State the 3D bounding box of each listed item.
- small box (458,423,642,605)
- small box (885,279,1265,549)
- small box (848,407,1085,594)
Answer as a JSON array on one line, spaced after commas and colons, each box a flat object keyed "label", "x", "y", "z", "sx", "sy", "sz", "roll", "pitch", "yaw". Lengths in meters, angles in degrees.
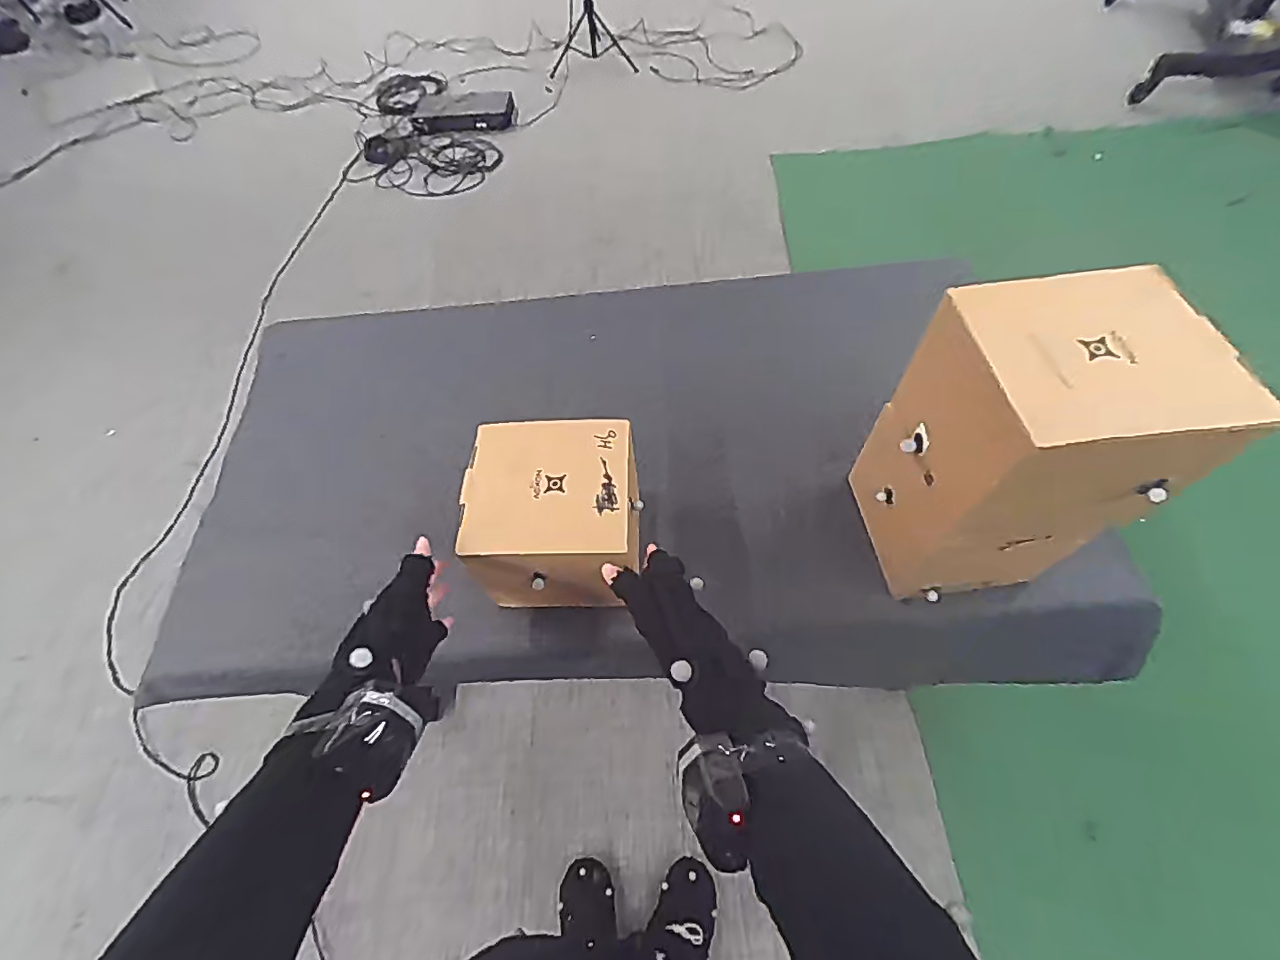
[{"label": "small box", "x": -0.093, "y": 0.048, "z": 0.655, "sx": 0.179, "sy": 0.176, "sz": 0.168, "roll": -1, "pitch": 59, "yaw": 4}, {"label": "small box", "x": 0.353, "y": -0.051, "z": 0.489, "sx": 0.179, "sy": 0.176, "sz": 0.168, "roll": -7, "pitch": 58, "yaw": 2}, {"label": "small box", "x": 0.365, "y": 0.023, "z": 0.632, "sx": 0.168, "sy": 0.176, "sz": 0.179, "roll": -8, "pitch": 58, "yaw": 0}]
